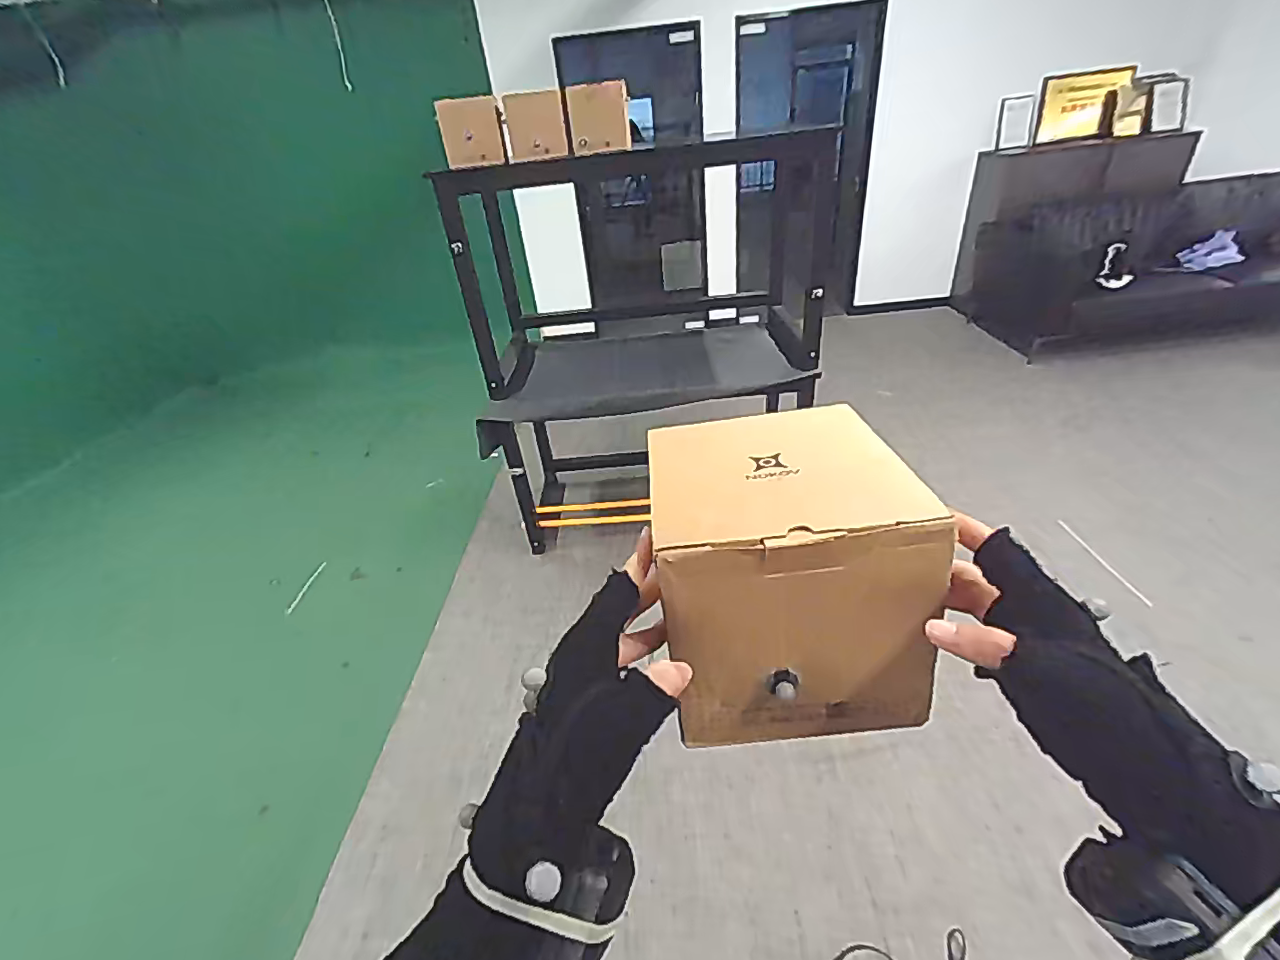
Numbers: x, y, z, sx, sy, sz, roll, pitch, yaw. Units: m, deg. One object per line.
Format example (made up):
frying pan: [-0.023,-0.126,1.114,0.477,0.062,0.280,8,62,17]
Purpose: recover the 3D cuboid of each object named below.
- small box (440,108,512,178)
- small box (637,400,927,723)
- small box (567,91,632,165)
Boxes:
small box: [-0.496,-1.033,1.663,0.168,0.176,0.179,-7,32,-4]
small box: [0.089,0.053,0.414,0.168,0.176,0.179,-7,27,3]
small box: [-0.116,-1.071,1.651,0.168,0.176,0.179,-4,32,5]
